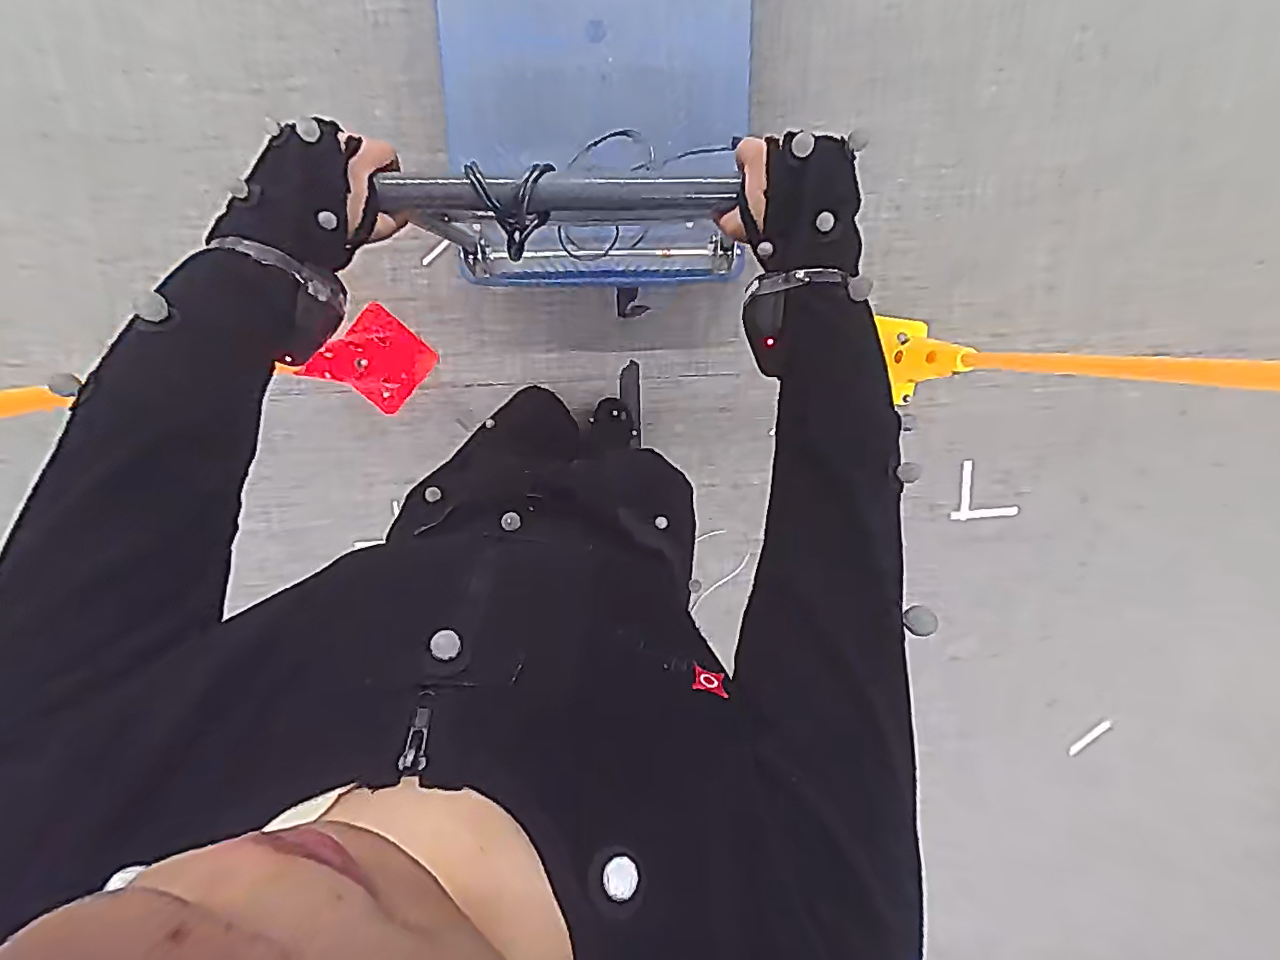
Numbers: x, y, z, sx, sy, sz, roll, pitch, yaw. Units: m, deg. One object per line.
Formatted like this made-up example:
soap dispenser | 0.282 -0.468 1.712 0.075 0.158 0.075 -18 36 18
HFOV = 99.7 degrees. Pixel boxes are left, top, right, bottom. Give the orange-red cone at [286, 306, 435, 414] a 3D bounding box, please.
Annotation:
orange-red cone | -0.604 -0.243 1.107 0.198 0.360 0.199 43 98 -11
